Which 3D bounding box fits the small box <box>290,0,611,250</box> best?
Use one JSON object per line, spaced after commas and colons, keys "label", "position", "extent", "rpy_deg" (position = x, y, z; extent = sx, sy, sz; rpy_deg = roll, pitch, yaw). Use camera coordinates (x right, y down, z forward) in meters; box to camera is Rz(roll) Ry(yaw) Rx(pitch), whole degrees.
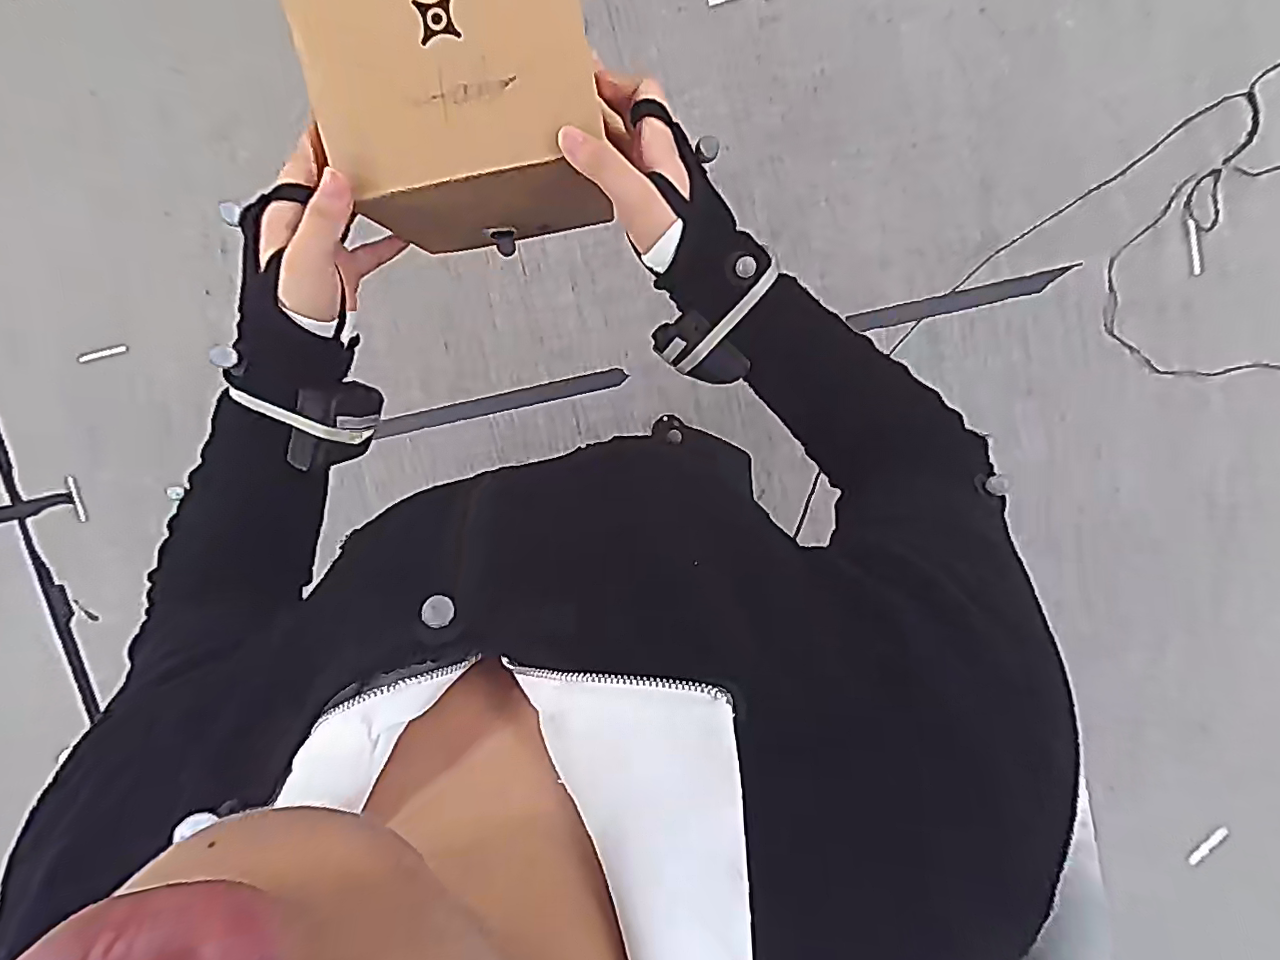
{"label": "small box", "position": [-0.117, -0.285, 0.386], "extent": [0.168, 0.176, 0.179], "rpy_deg": [-10, 102, 1]}
